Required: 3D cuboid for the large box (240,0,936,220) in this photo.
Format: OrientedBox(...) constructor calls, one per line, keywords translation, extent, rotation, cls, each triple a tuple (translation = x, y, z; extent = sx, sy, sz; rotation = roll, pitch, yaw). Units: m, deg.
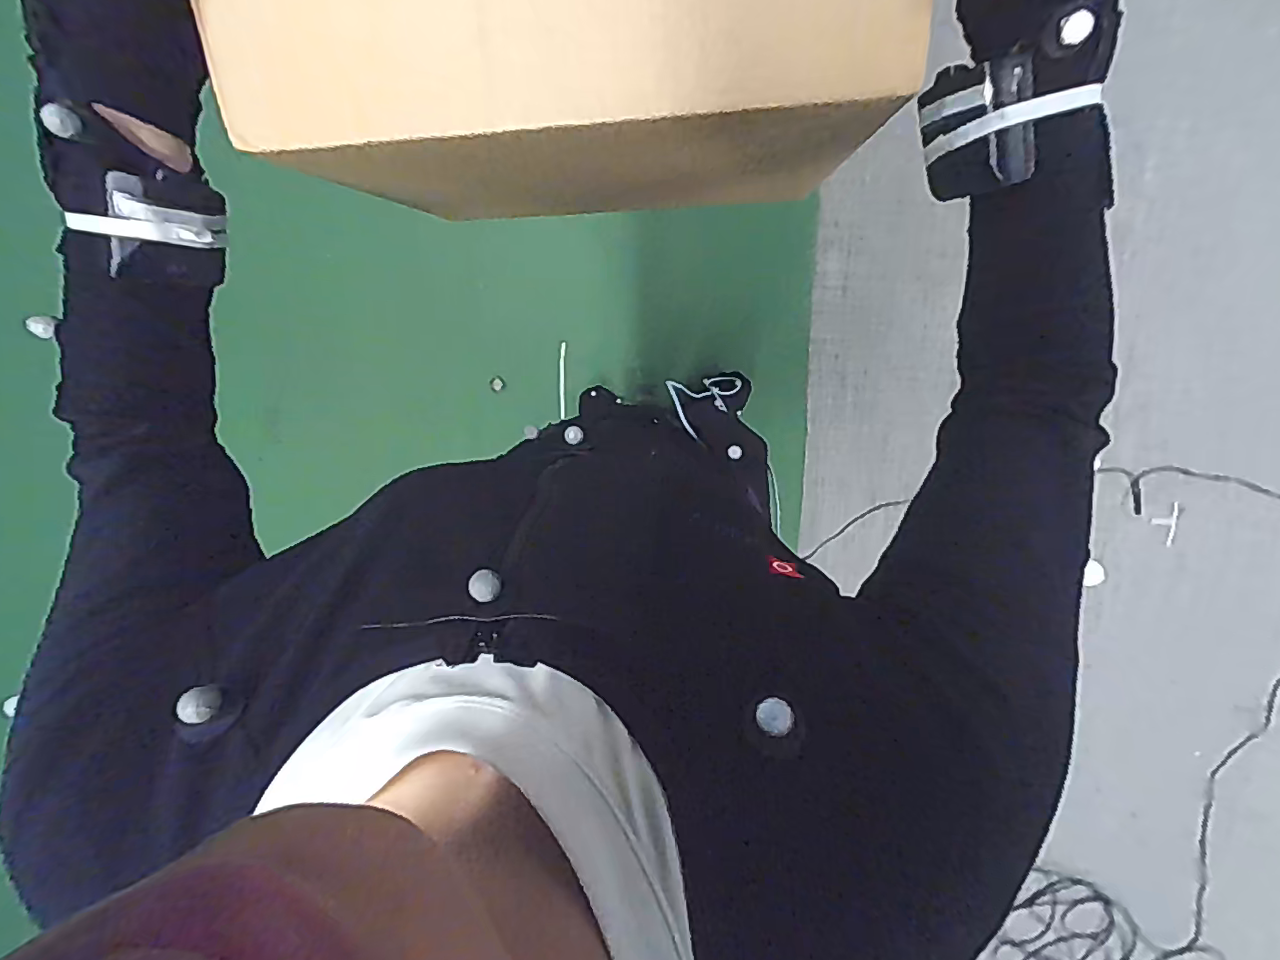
OrientedBox(translation=(-0.031, -0.406, 0.419), extent=(0.408, 0.320, 0.320), rotation=(-1, 108, 6), cls="large box")
